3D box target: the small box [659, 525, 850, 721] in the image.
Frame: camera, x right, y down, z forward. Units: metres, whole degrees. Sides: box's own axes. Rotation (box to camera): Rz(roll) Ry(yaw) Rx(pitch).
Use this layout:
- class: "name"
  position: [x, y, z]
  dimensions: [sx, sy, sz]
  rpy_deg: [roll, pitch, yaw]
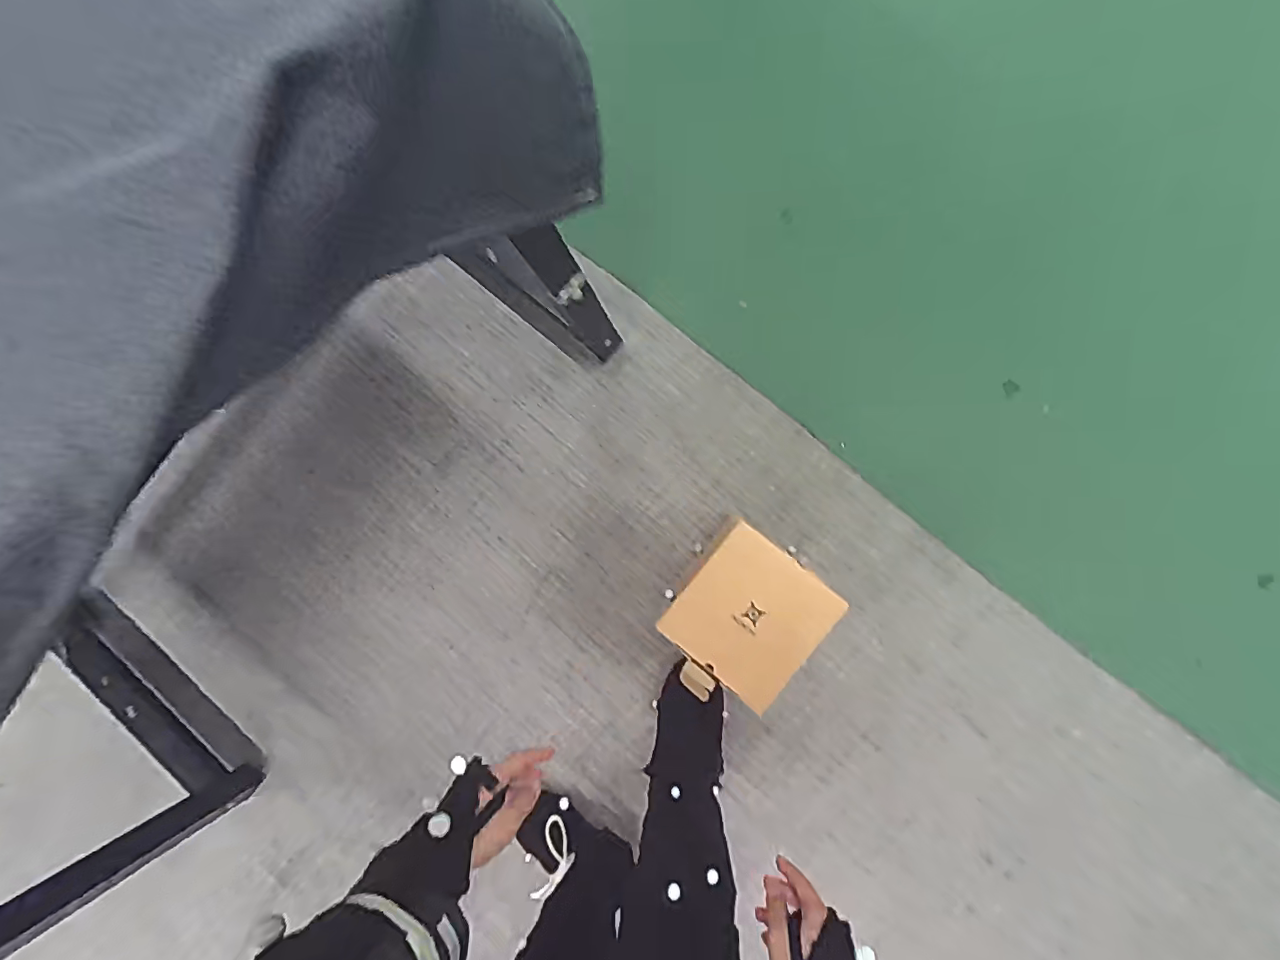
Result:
- class: "small box"
  position: [0.144, 0.175, 0.730]
  dimensions: [0.168, 0.176, 0.179]
  rpy_deg: [38, 93, 7]
